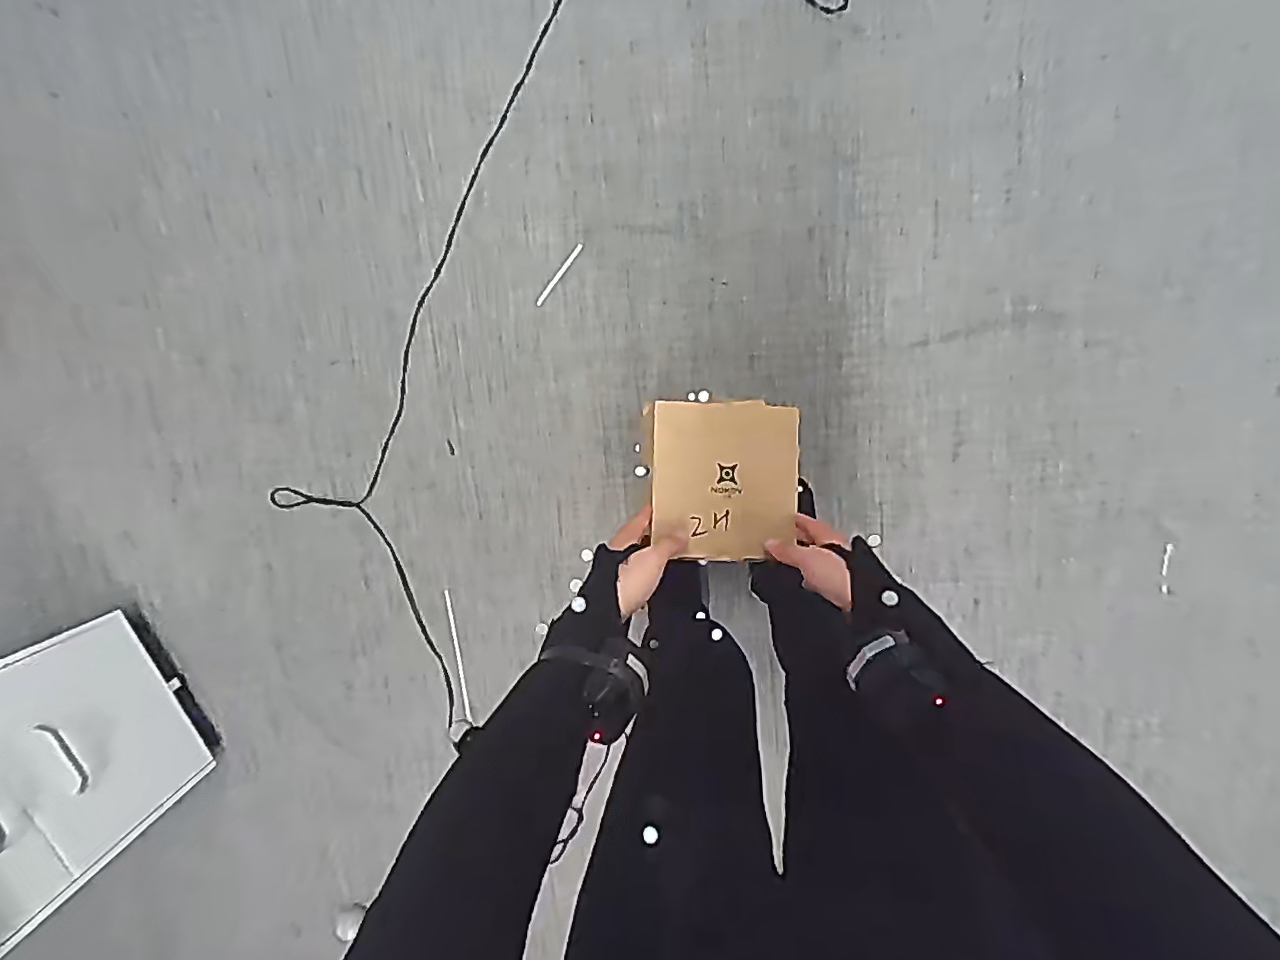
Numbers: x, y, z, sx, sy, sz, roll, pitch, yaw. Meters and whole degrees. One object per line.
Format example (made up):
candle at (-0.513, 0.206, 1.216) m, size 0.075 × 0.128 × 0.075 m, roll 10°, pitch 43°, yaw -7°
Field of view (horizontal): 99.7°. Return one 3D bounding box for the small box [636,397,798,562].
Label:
small box at (0.086, 0.005, 0.676) m, size 0.168 × 0.176 × 0.179 m, roll 3°, pitch 86°, yaw -5°
